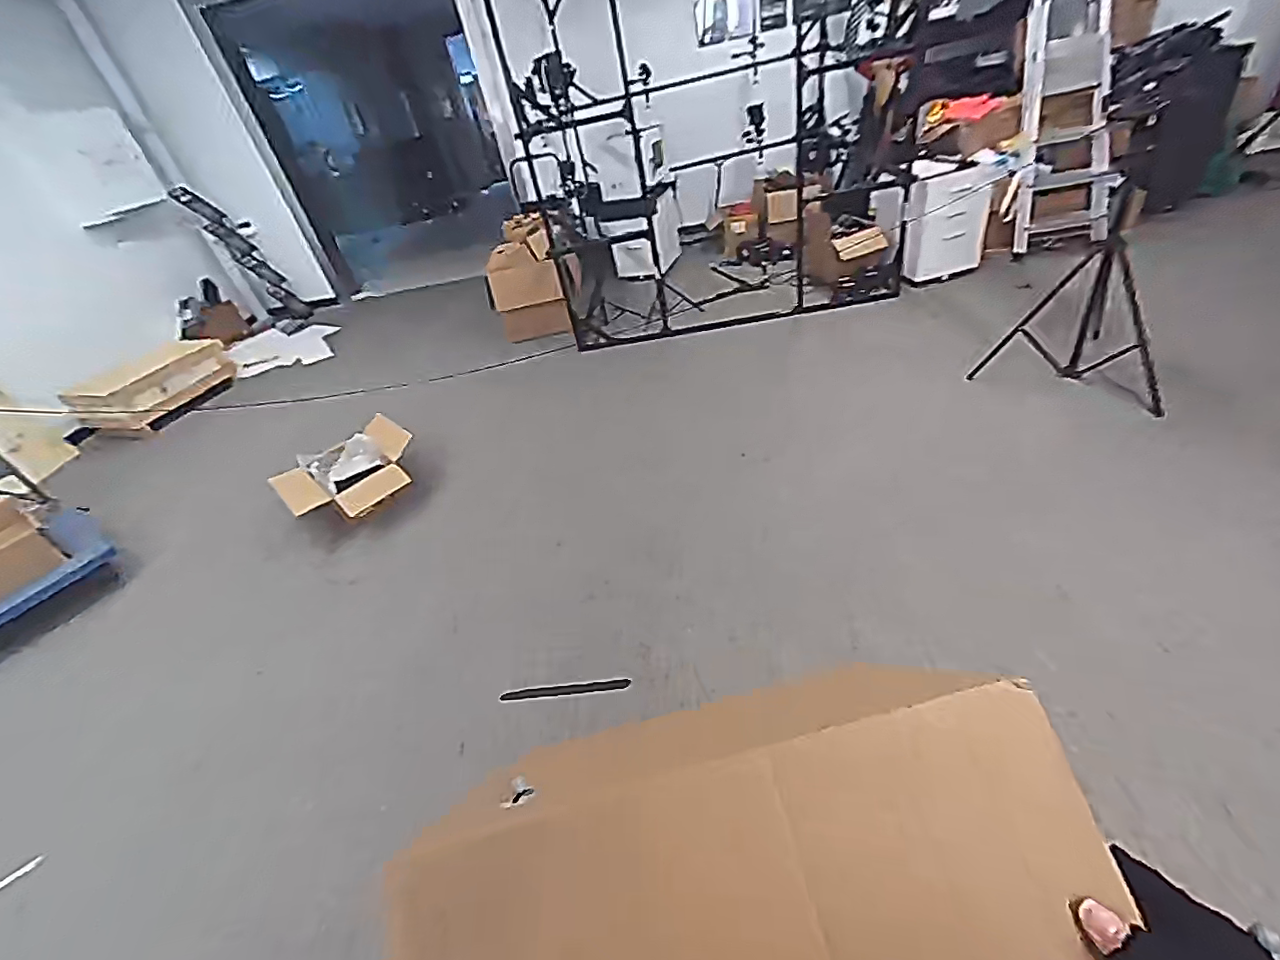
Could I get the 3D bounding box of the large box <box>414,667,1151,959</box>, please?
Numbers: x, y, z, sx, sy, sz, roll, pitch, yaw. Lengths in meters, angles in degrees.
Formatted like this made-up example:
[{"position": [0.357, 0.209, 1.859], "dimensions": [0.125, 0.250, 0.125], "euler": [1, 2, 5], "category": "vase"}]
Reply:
[{"position": [0.097, 0.360, 0.433], "dimensions": [0.408, 0.320, 0.320], "euler": [-15, 73, -1], "category": "large box"}]
